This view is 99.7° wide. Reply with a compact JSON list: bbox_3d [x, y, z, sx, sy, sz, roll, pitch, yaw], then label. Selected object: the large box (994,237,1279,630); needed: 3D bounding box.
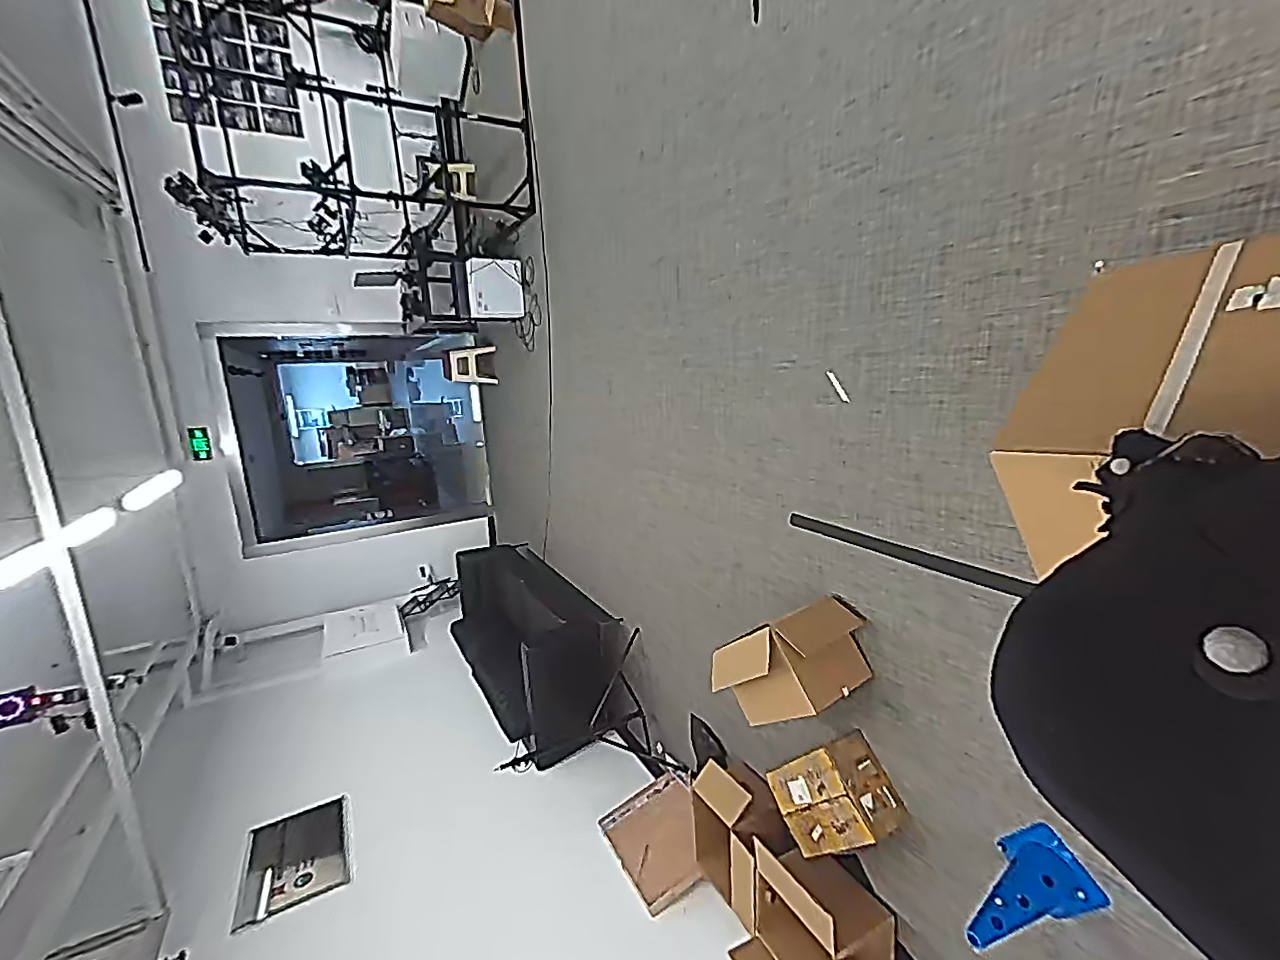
[{"bbox_3d":[0.761,-0.065,0.729,0.320,0.408,0.320,51,159,-26],"label":"large box"}]
